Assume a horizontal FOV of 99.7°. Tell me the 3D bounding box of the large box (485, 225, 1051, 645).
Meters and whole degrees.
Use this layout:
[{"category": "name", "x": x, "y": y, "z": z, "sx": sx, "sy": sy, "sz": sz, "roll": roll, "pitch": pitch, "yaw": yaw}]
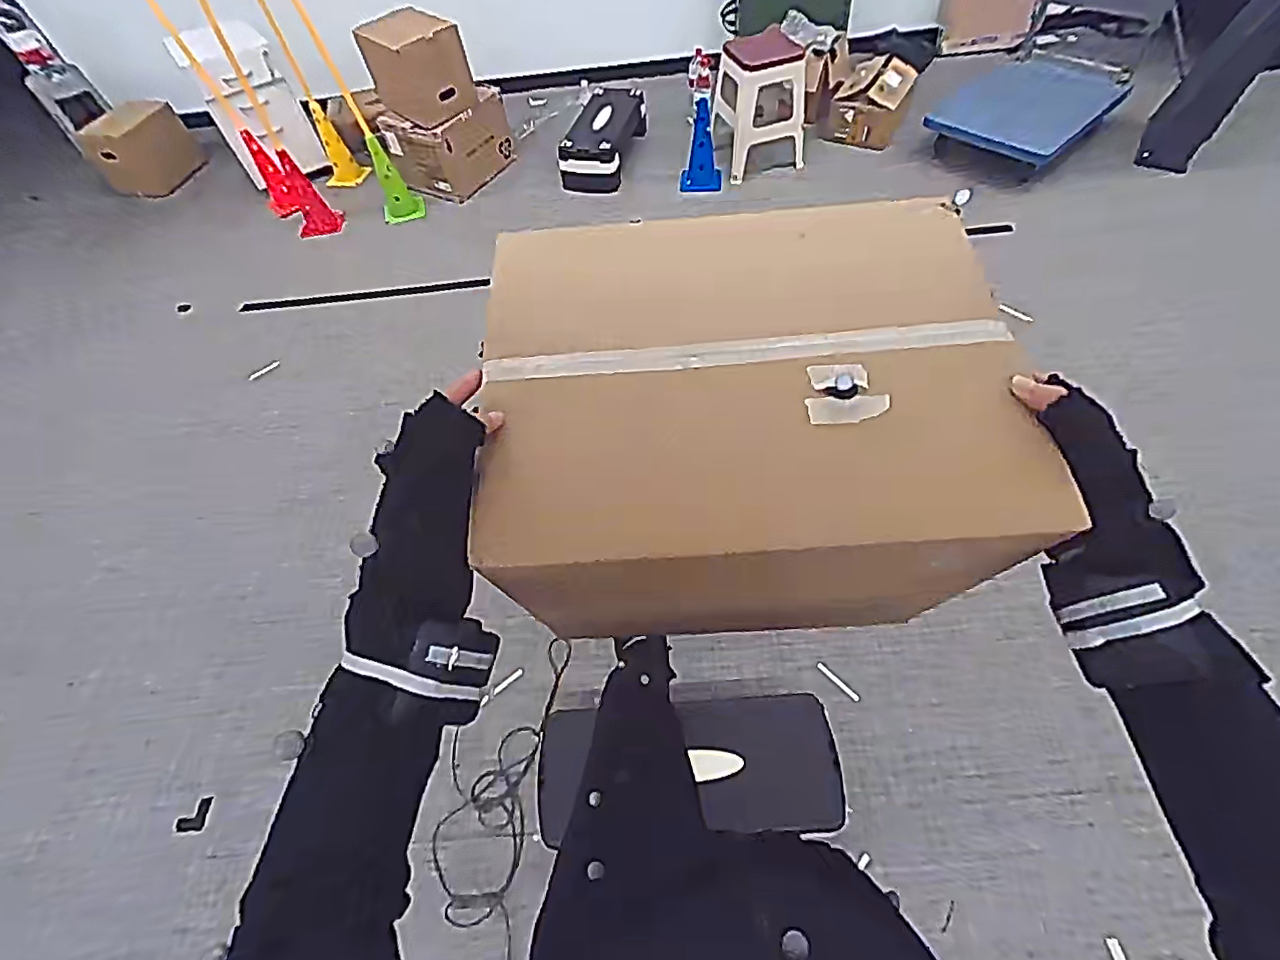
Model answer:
[{"category": "large box", "x": 0.086, "y": -0.022, "z": 0.574, "sx": 0.408, "sy": 0.320, "sz": 0.320, "roll": -4, "pitch": 64, "yaw": 2}]
